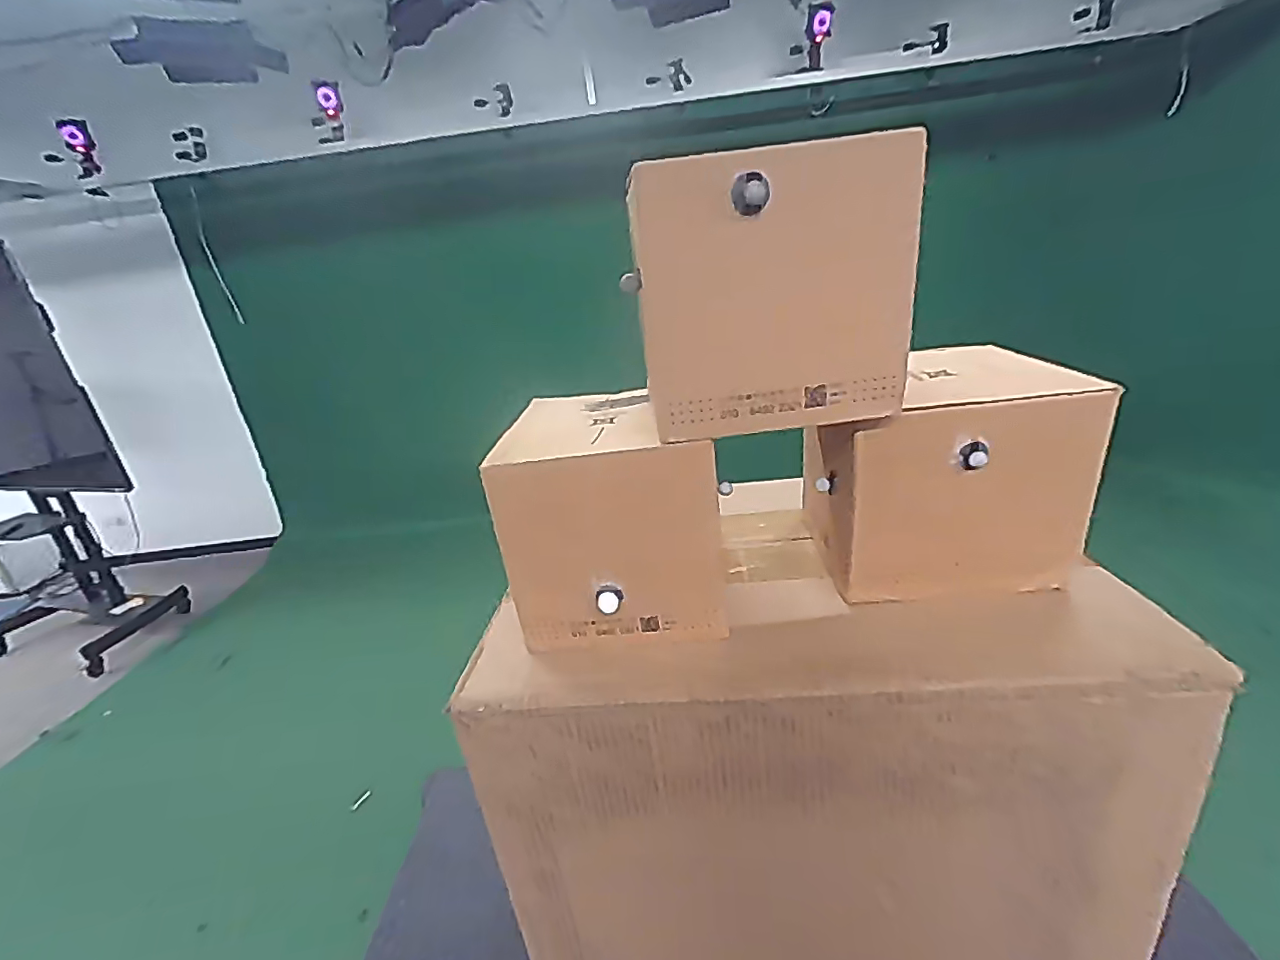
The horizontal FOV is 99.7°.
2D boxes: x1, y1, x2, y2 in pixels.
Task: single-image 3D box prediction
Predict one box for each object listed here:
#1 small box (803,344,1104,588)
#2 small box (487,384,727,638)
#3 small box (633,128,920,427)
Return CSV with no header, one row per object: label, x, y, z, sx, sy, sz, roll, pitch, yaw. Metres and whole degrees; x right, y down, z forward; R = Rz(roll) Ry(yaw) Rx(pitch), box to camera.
small box,0.247,-0.017,0.480,0.179,0.176,0.168,-3,24,5
small box,-0.015,0.017,0.482,0.168,0.176,0.179,-6,23,7
small box,0.083,-0.146,0.413,0.168,0.176,0.179,-6,23,0
